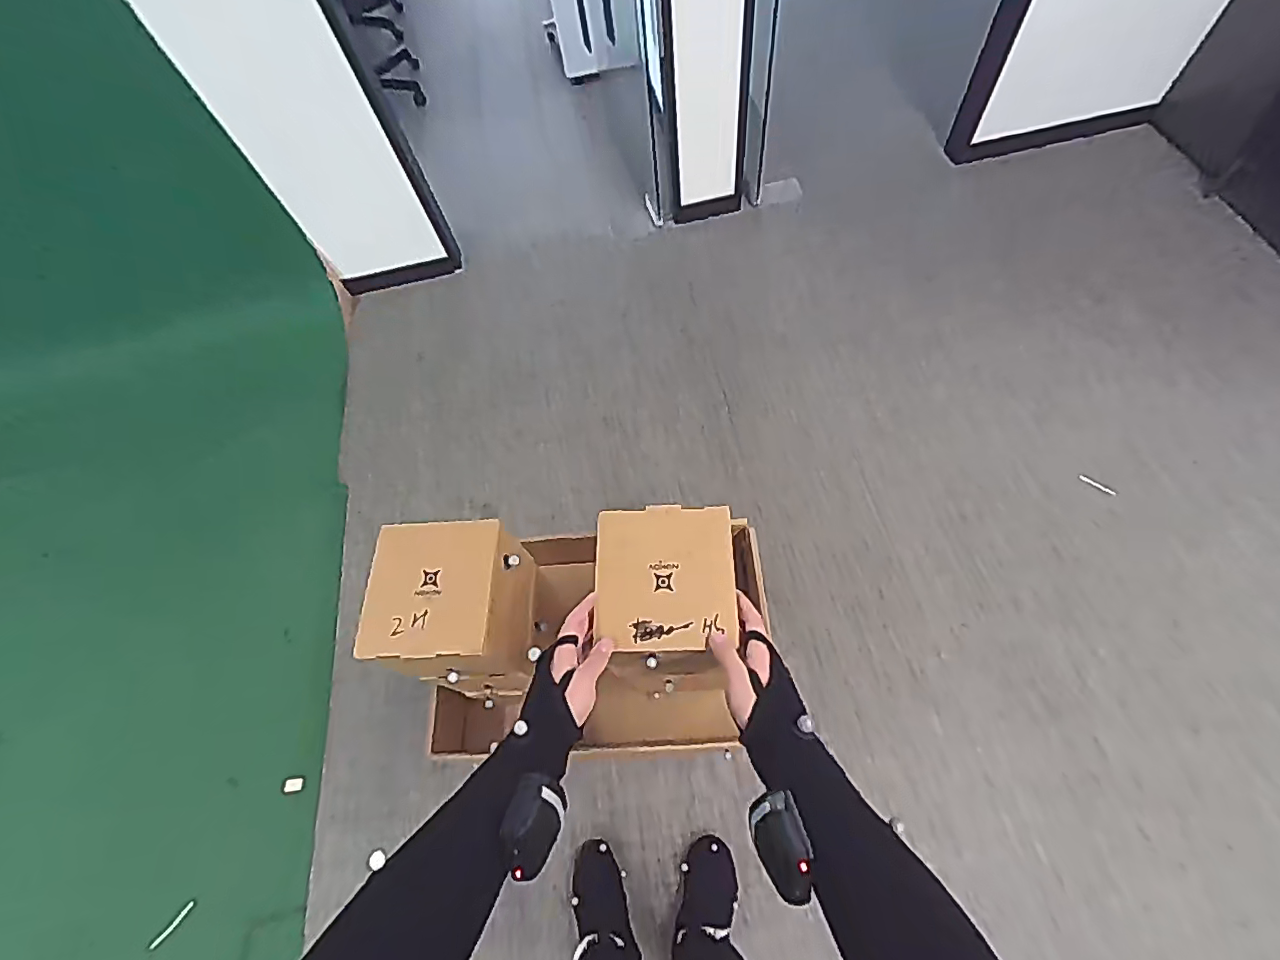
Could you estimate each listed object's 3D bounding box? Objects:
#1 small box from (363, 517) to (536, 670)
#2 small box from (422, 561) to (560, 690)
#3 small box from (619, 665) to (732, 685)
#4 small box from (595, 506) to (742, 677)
[{"bbox_3d":[-0.250,0.165,0.757,0.168,0.176,0.179,-4,65,6],"label":"small box"},{"bbox_3d":[-0.234,0.246,0.898,0.168,0.176,0.179,-4,63,5],"label":"small box"},{"bbox_3d":[0.058,0.227,0.871,0.168,0.176,0.179,-4,63,6],"label":"small box"},{"bbox_3d":[0.042,0.149,0.705,0.168,0.176,0.179,-2,60,7],"label":"small box"}]
